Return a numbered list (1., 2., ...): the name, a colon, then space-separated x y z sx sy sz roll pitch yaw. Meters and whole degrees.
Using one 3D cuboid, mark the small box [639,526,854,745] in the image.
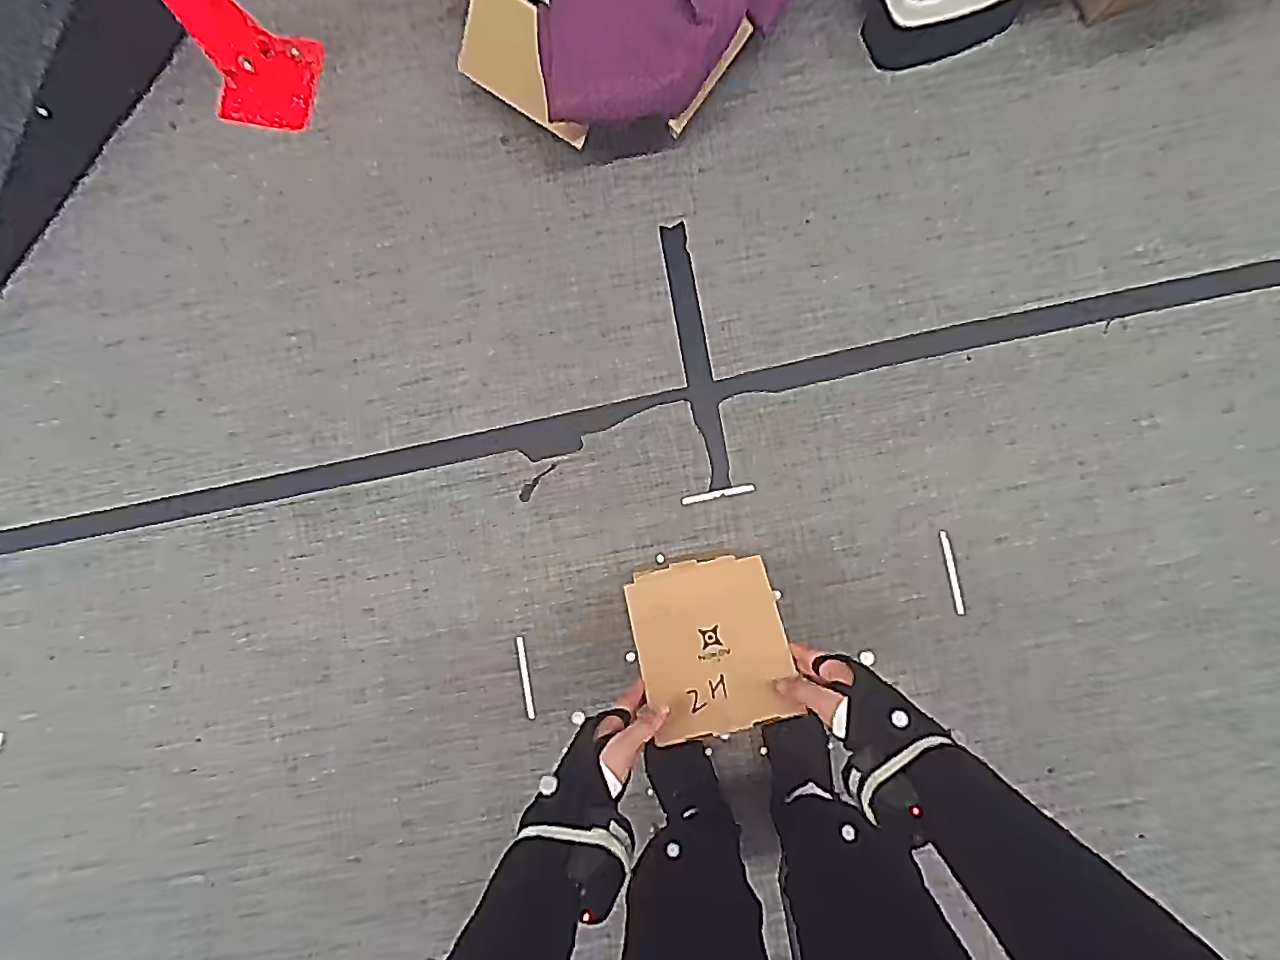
1. small box: 0.097 0.170 0.580 0.168 0.176 0.179 -13 67 -2
